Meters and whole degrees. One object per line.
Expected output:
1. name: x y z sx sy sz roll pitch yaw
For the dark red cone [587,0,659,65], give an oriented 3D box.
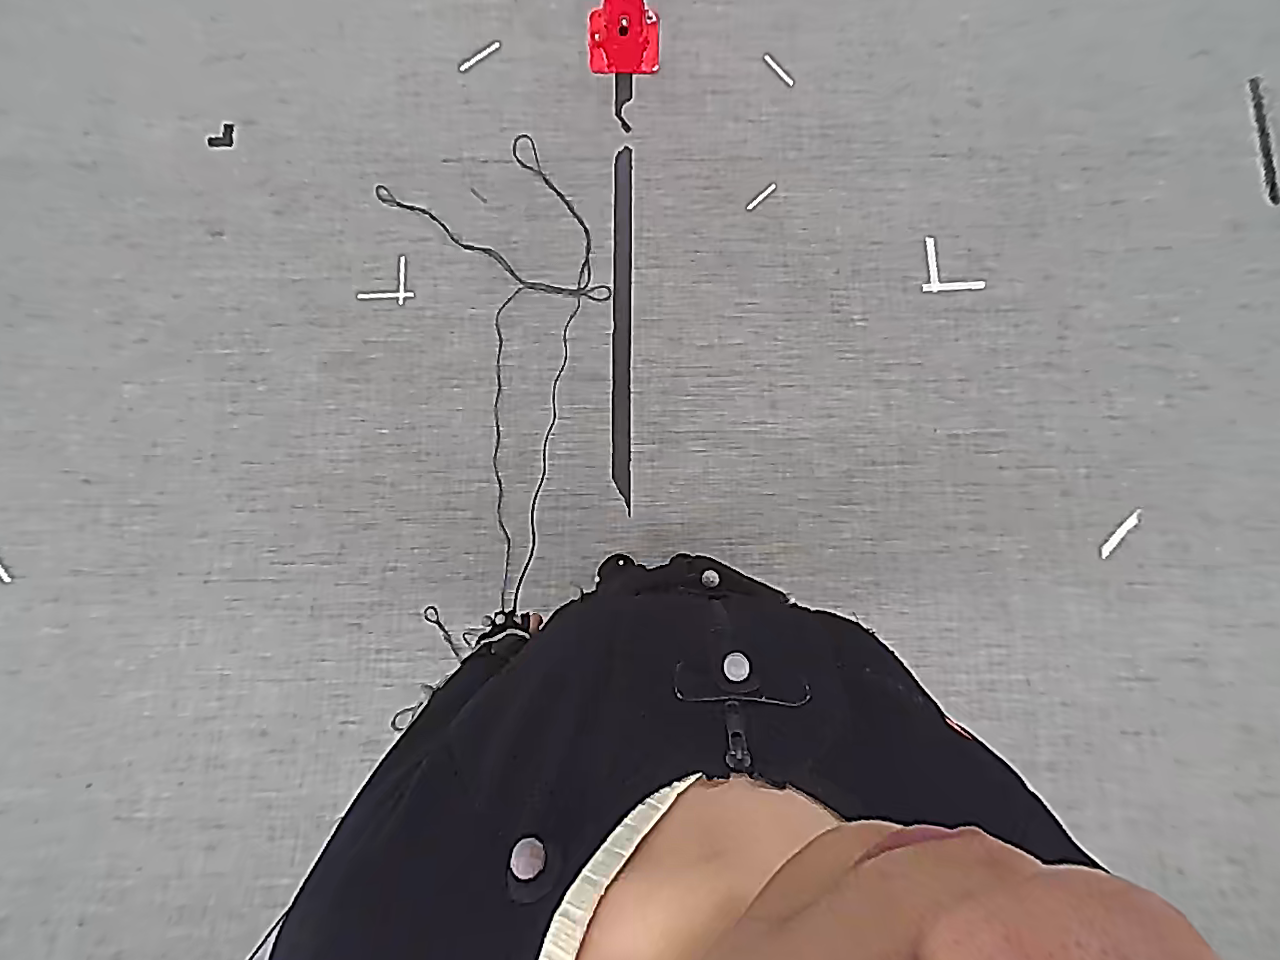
1. dark red cone: -0.048 -1.282 1.357 0.201 0.394 0.202 -1 84 0
